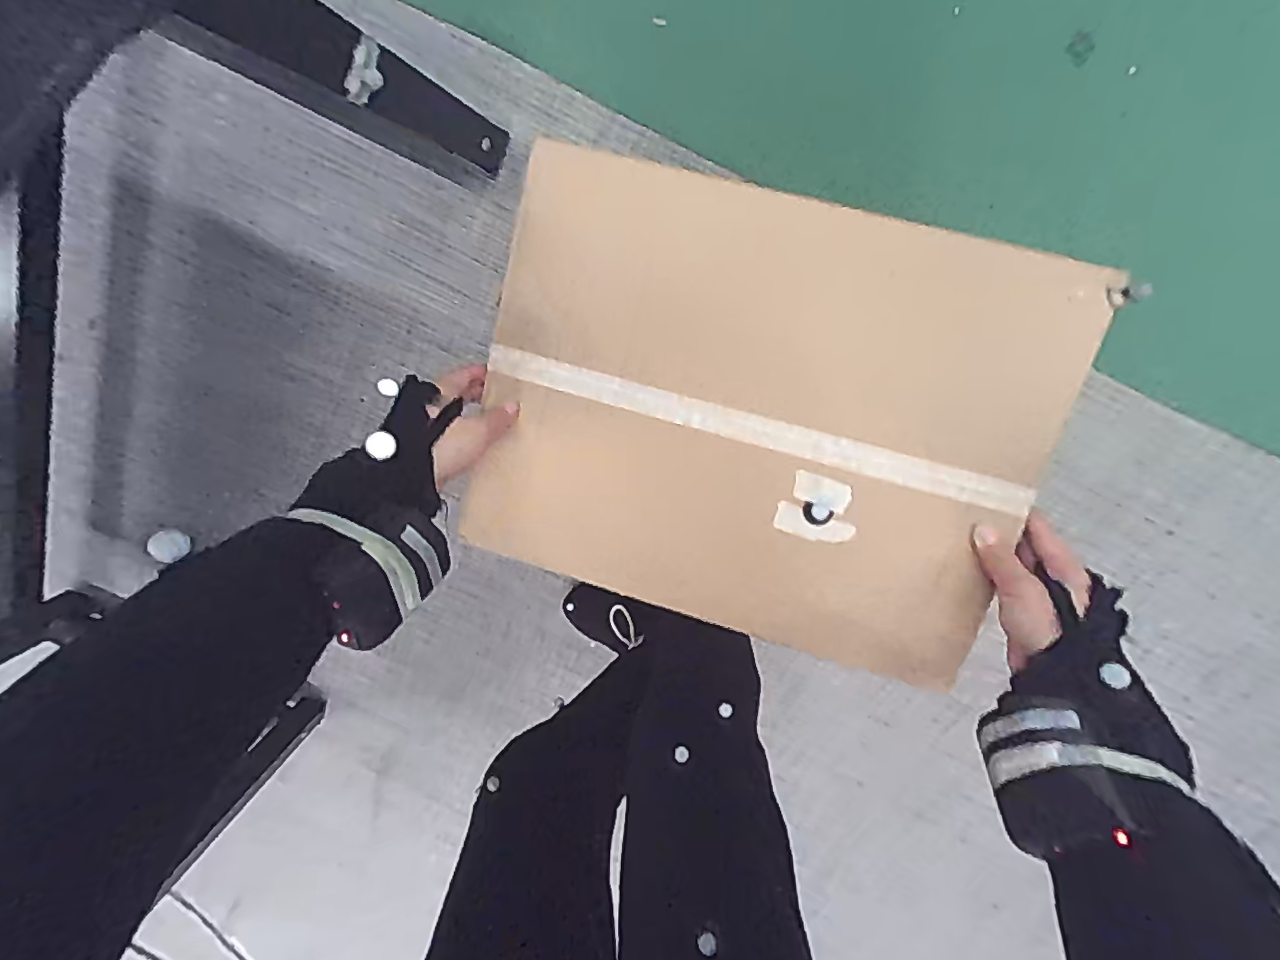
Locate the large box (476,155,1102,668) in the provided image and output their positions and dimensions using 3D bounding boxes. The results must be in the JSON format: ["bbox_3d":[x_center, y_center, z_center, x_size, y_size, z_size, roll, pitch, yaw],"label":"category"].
[{"bbox_3d":[0.104,-0.071,0.552,0.408,0.320,0.320,15,102,5],"label":"large box"}]
